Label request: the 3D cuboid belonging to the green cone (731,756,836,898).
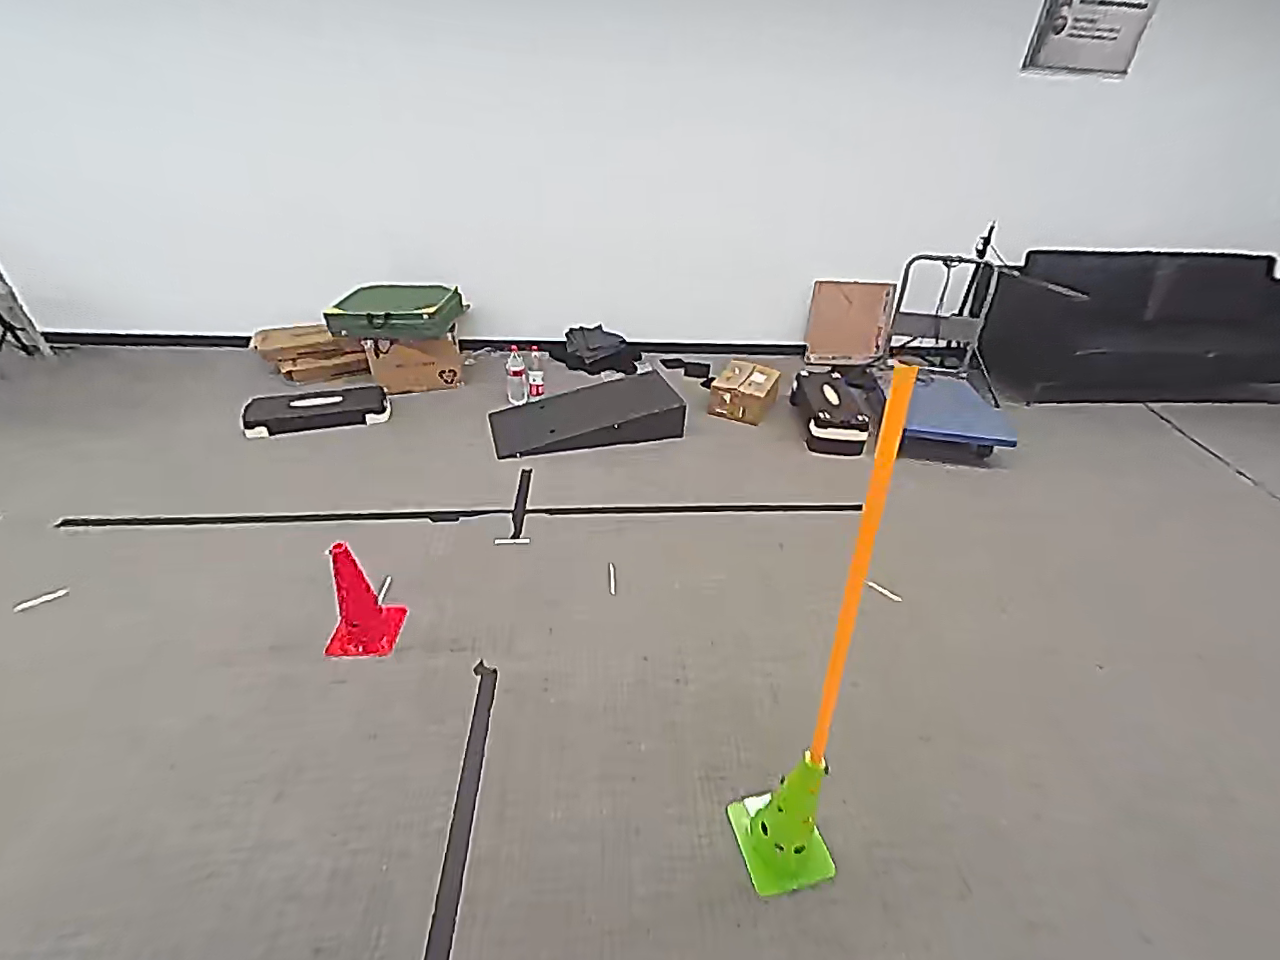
[{"bbox_3d":[0.343,0.712,1.180,0.200,0.368,0.202,-6,36,-14],"label":"green cone"}]
